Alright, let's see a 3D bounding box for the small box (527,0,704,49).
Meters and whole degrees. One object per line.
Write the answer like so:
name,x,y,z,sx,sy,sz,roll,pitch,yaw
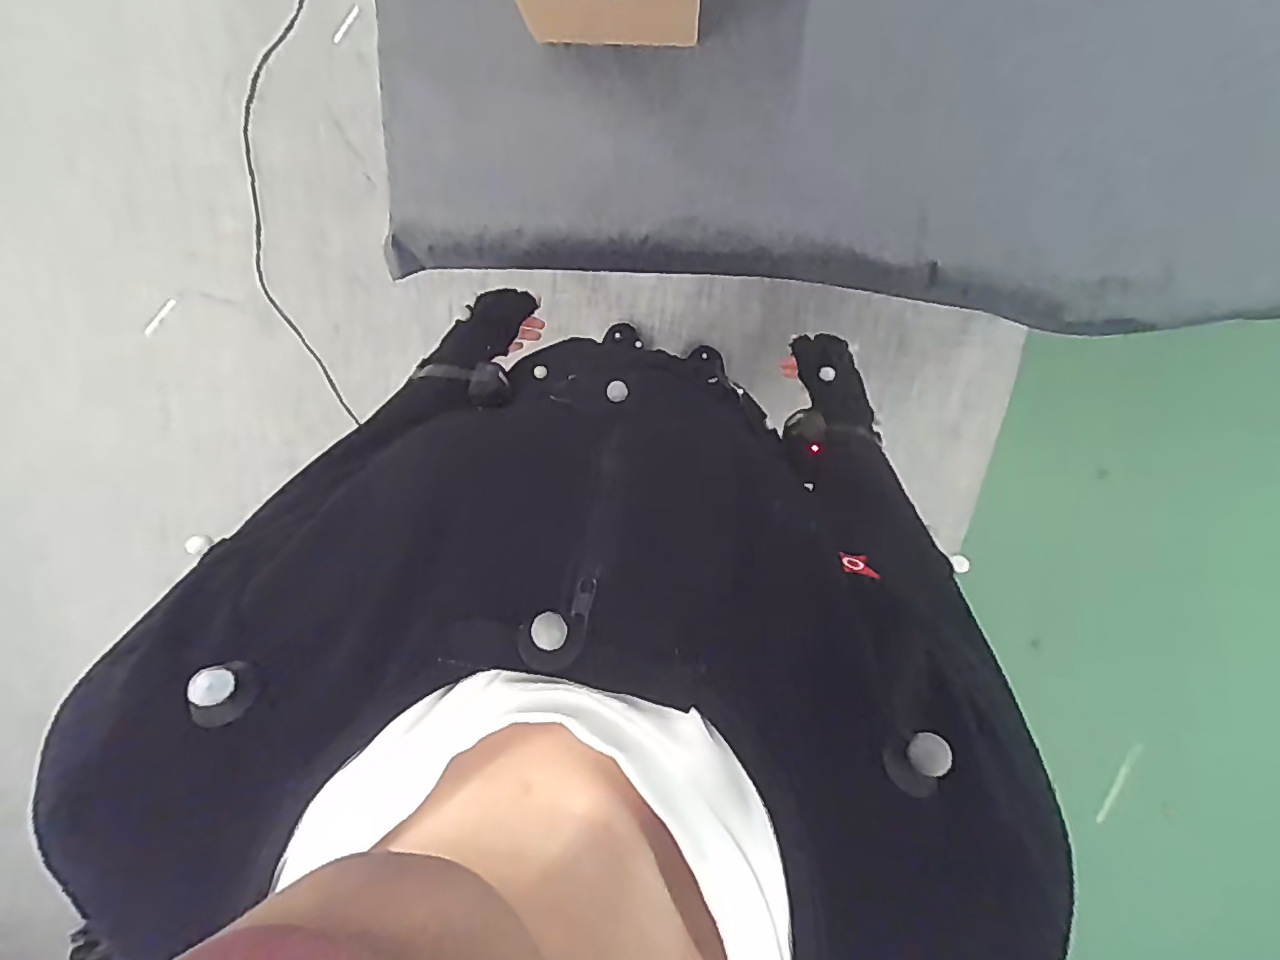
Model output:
small box,-0.023,-0.526,0.489,0.179,0.176,0.168,4,107,2
